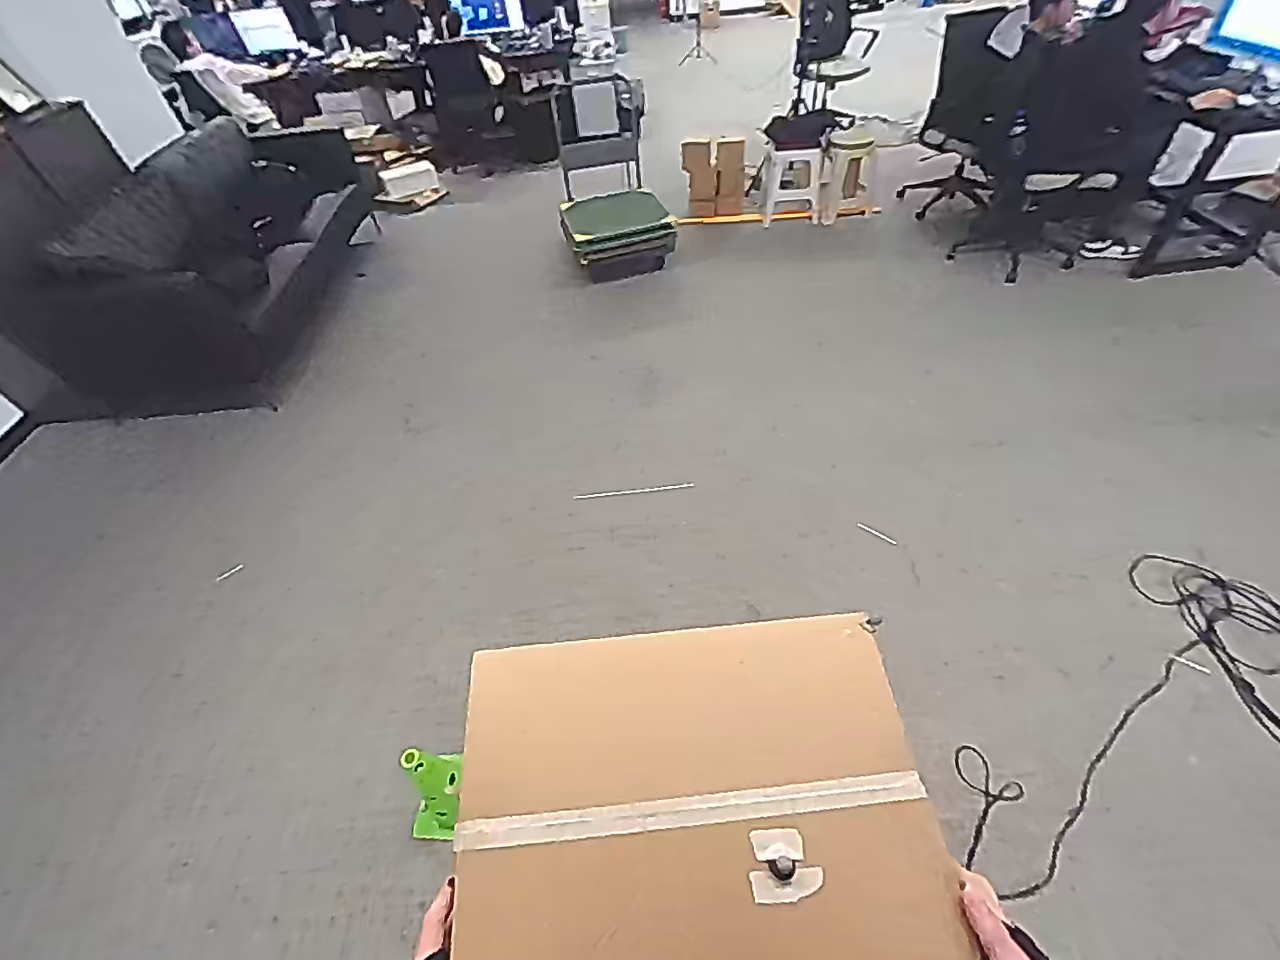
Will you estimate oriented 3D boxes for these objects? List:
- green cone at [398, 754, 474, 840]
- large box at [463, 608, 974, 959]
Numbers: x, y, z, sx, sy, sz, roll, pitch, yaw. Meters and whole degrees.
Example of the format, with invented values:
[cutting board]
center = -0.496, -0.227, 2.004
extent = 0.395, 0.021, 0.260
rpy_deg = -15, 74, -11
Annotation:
[green cone]
center = -0.507, 0.741, 1.334
extent = 0.200, 0.368, 0.202
rpy_deg = -1, 49, 6
[large box]
center = 0.049, 0.365, 0.606
extent = 0.408, 0.320, 0.320
rpy_deg = -6, 58, -2
